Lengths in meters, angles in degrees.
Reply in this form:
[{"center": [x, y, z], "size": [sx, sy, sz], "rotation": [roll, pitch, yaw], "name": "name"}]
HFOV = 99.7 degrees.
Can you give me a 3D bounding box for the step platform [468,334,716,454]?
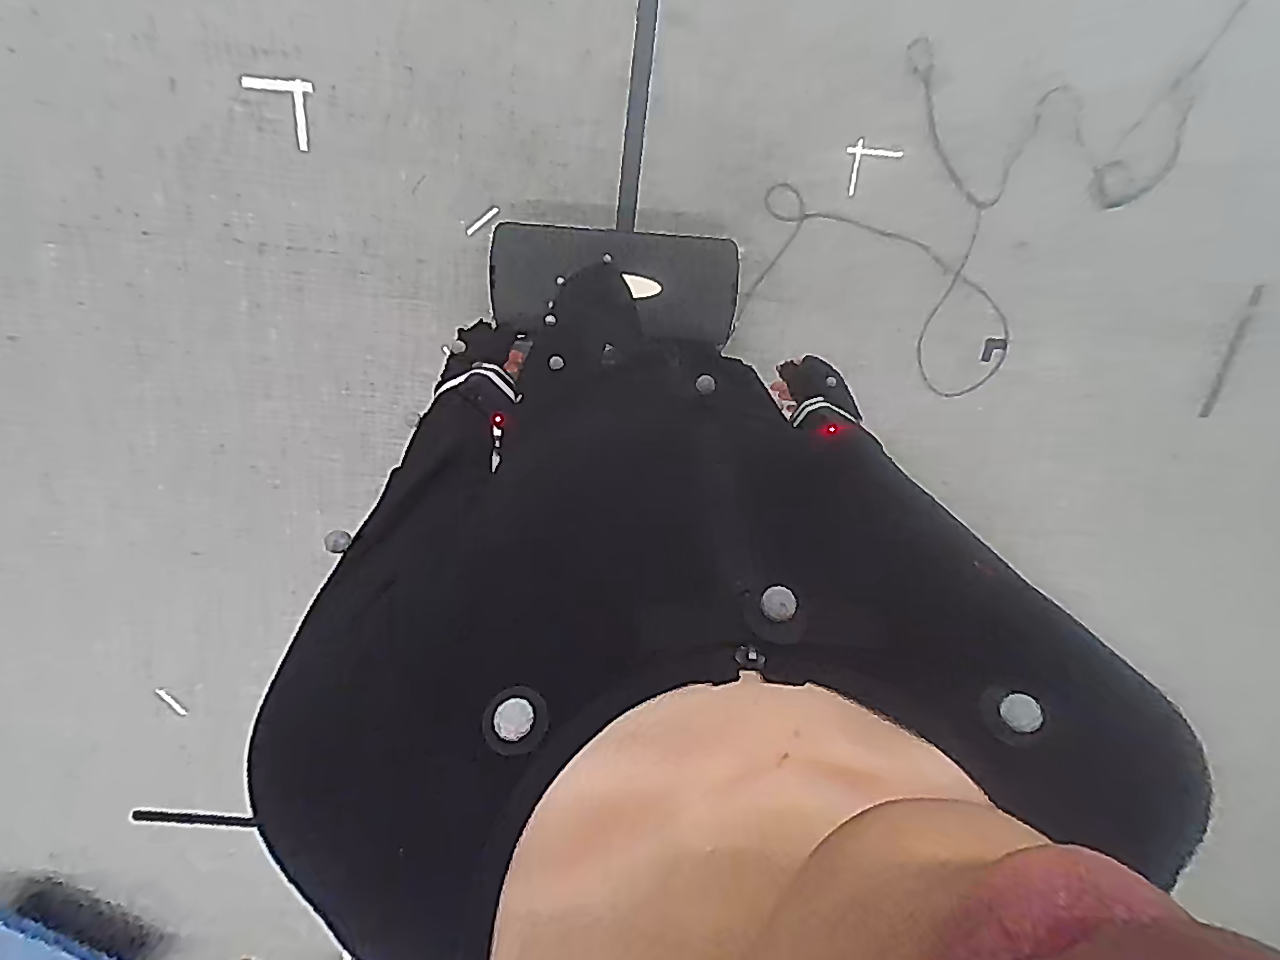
[{"center": [-0.129, -0.242, 1.523], "size": [0.684, 0.204, 0.286], "rotation": [4, 106, -2], "name": "step platform"}]
